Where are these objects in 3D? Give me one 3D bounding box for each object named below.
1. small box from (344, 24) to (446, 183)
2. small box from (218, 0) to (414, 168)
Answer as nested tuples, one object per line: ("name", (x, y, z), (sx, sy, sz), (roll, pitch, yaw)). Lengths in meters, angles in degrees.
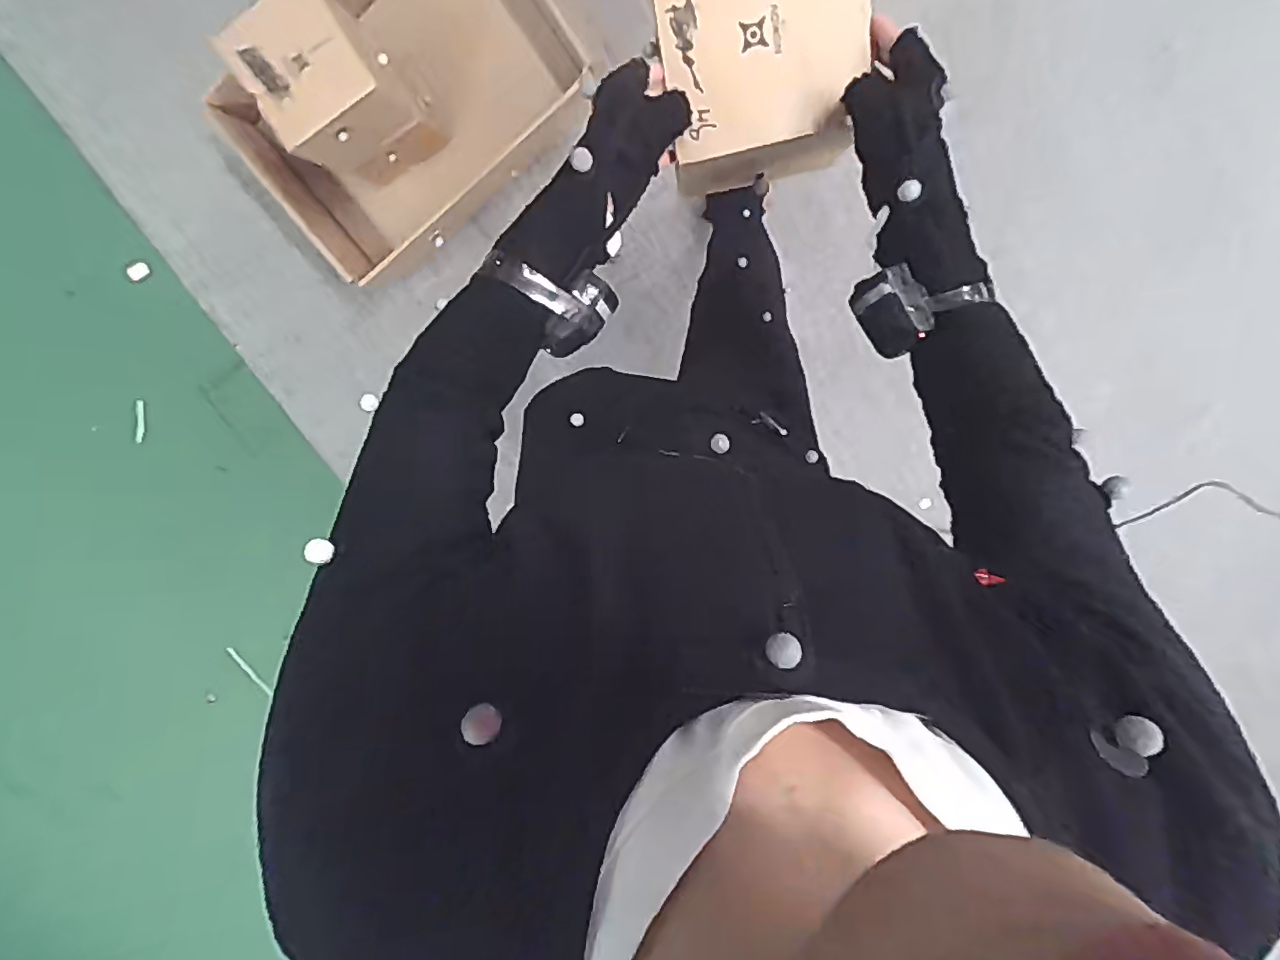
("small box", (-0.504, -0.698, 1.030), (0.179, 0.176, 0.168), (-28, 109, 8))
("small box", (-0.506, -0.641, 0.876), (0.179, 0.176, 0.168), (-29, 108, 9))
